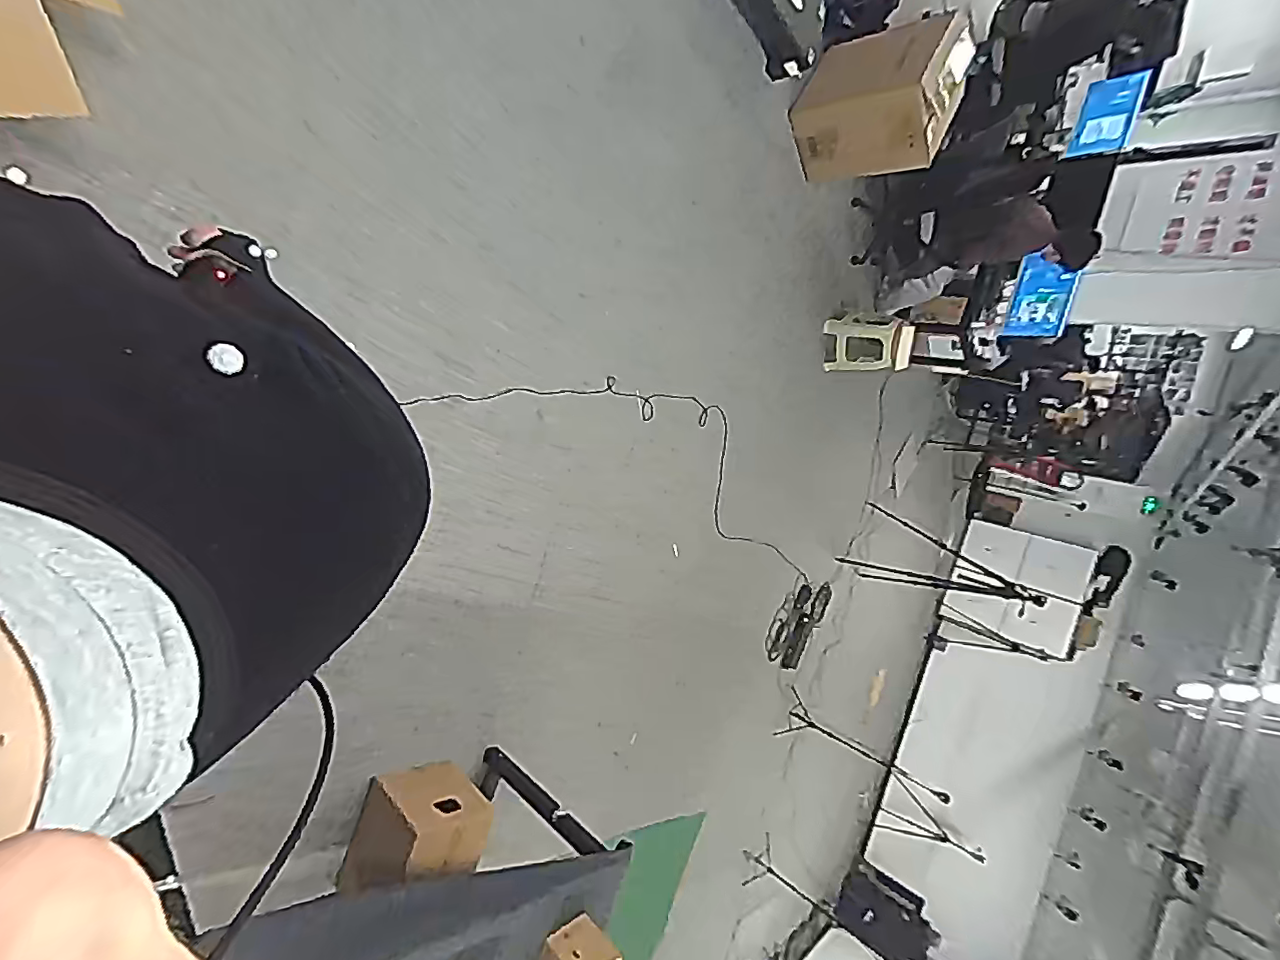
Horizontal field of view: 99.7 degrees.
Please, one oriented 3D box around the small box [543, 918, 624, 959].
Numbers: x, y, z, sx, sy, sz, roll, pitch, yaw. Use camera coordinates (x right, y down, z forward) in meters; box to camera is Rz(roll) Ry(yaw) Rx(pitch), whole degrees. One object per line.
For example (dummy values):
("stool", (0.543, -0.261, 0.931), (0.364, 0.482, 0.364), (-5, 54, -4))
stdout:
("small box", (-0.178, 1.413, 1.550), (0.168, 0.176, 0.179), (14, 95, -49))
